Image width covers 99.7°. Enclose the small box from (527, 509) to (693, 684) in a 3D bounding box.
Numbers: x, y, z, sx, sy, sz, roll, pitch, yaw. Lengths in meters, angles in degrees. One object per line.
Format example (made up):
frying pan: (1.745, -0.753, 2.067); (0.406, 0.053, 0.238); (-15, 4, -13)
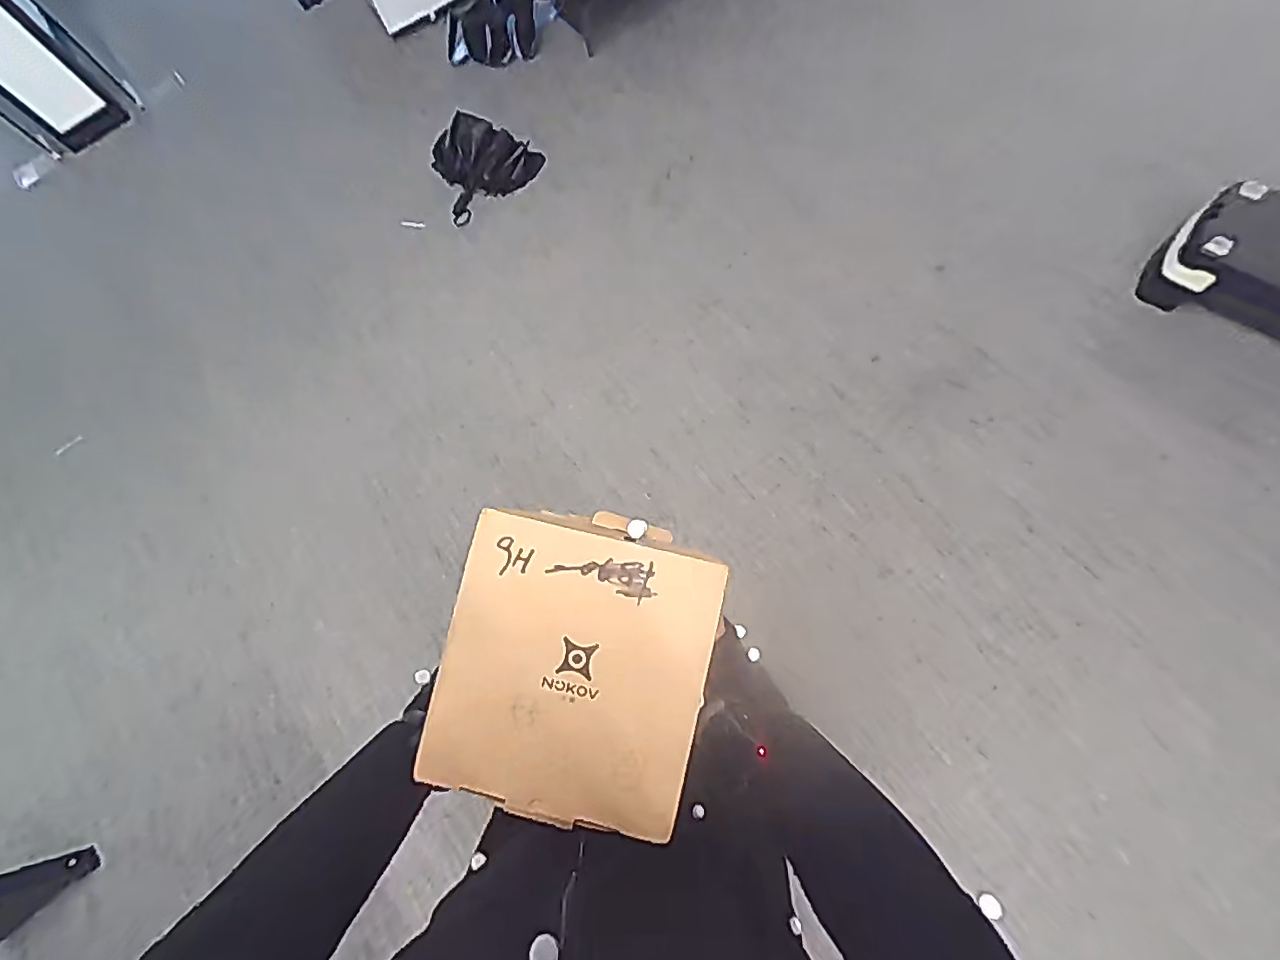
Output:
small box: (-0.035, 0.148, 0.734); (0.168, 0.176, 0.179); (15, 85, 4)
